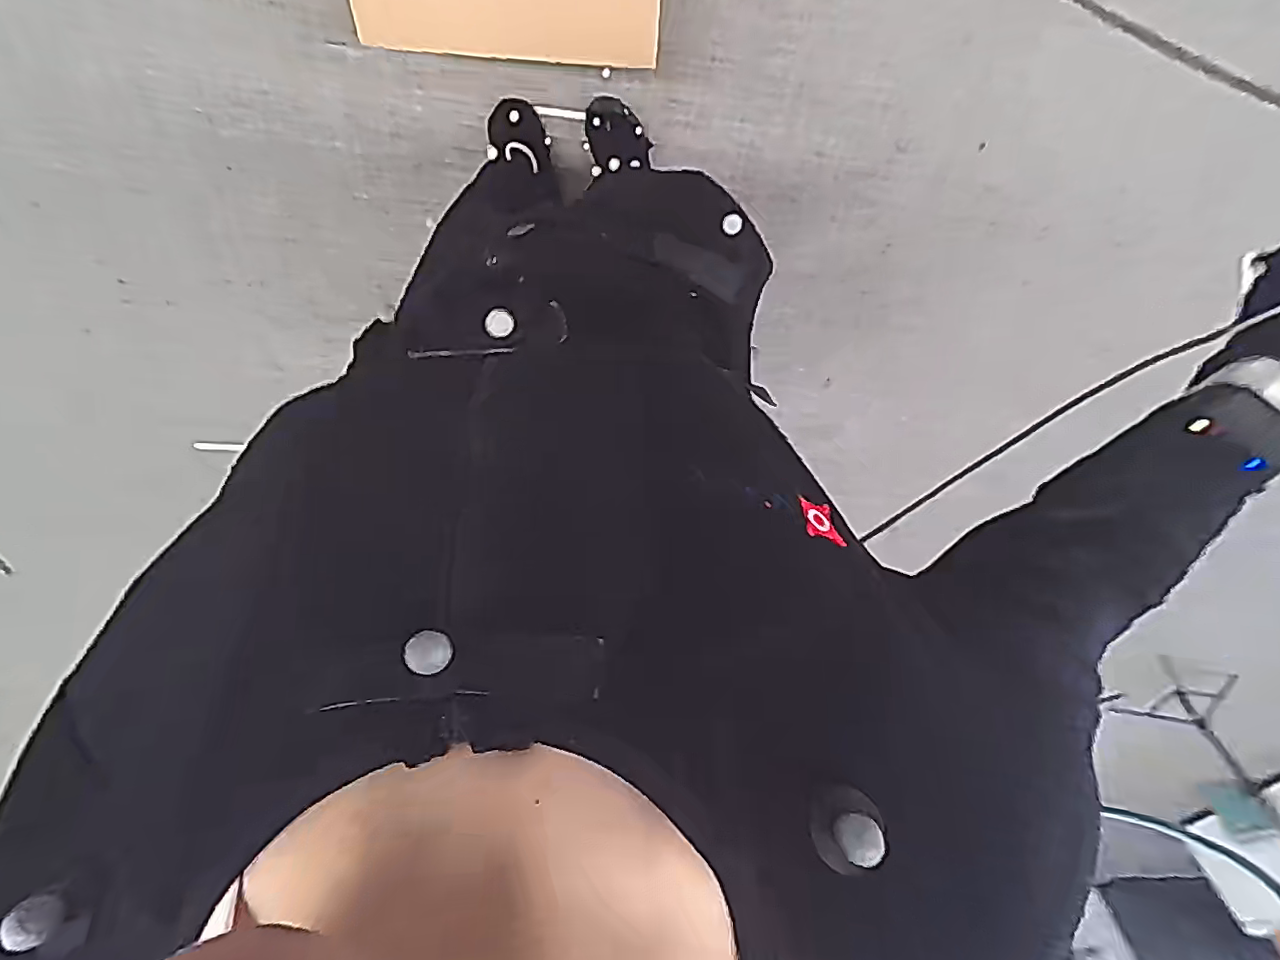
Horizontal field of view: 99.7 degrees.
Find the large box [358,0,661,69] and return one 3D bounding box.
[{"bbox_3d":[-0.171,-0.799,0.764,0.408,0.320,0.320,2,131,-3],"label":"large box"}]
